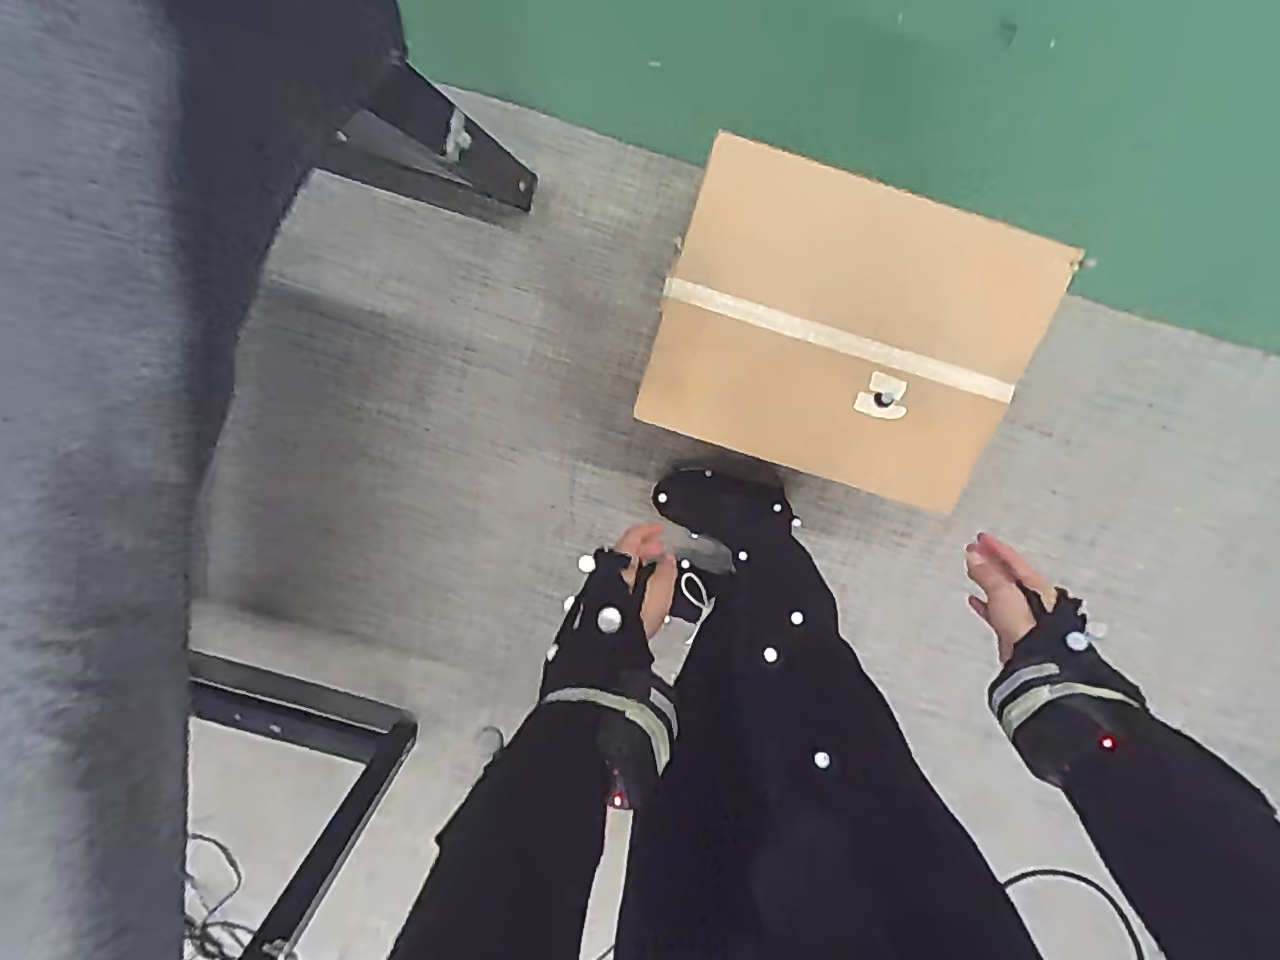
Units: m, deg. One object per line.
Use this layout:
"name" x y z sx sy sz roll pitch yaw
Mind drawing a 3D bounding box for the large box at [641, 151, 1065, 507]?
"large box" 0.235 -0.199 0.760 0.408 0.320 0.320 17 107 -2
